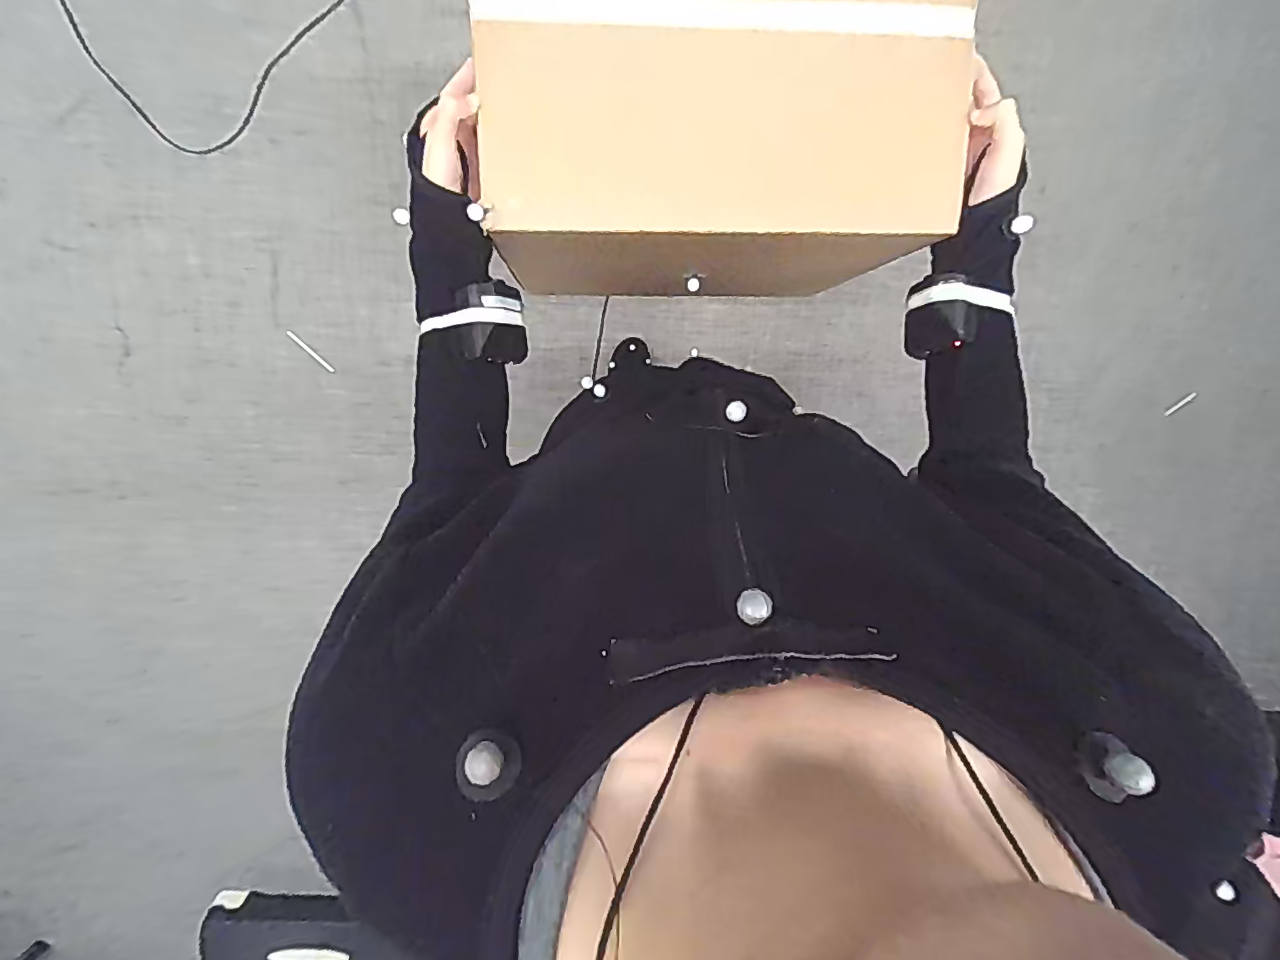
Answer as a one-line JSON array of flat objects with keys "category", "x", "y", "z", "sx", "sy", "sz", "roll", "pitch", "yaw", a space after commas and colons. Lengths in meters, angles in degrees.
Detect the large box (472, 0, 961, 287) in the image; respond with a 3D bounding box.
[{"category": "large box", "x": 0.057, "y": -0.392, "z": 0.582, "sx": 0.408, "sy": 0.320, "sz": 0.320, "roll": -2, "pitch": 99, "yaw": -4}]
